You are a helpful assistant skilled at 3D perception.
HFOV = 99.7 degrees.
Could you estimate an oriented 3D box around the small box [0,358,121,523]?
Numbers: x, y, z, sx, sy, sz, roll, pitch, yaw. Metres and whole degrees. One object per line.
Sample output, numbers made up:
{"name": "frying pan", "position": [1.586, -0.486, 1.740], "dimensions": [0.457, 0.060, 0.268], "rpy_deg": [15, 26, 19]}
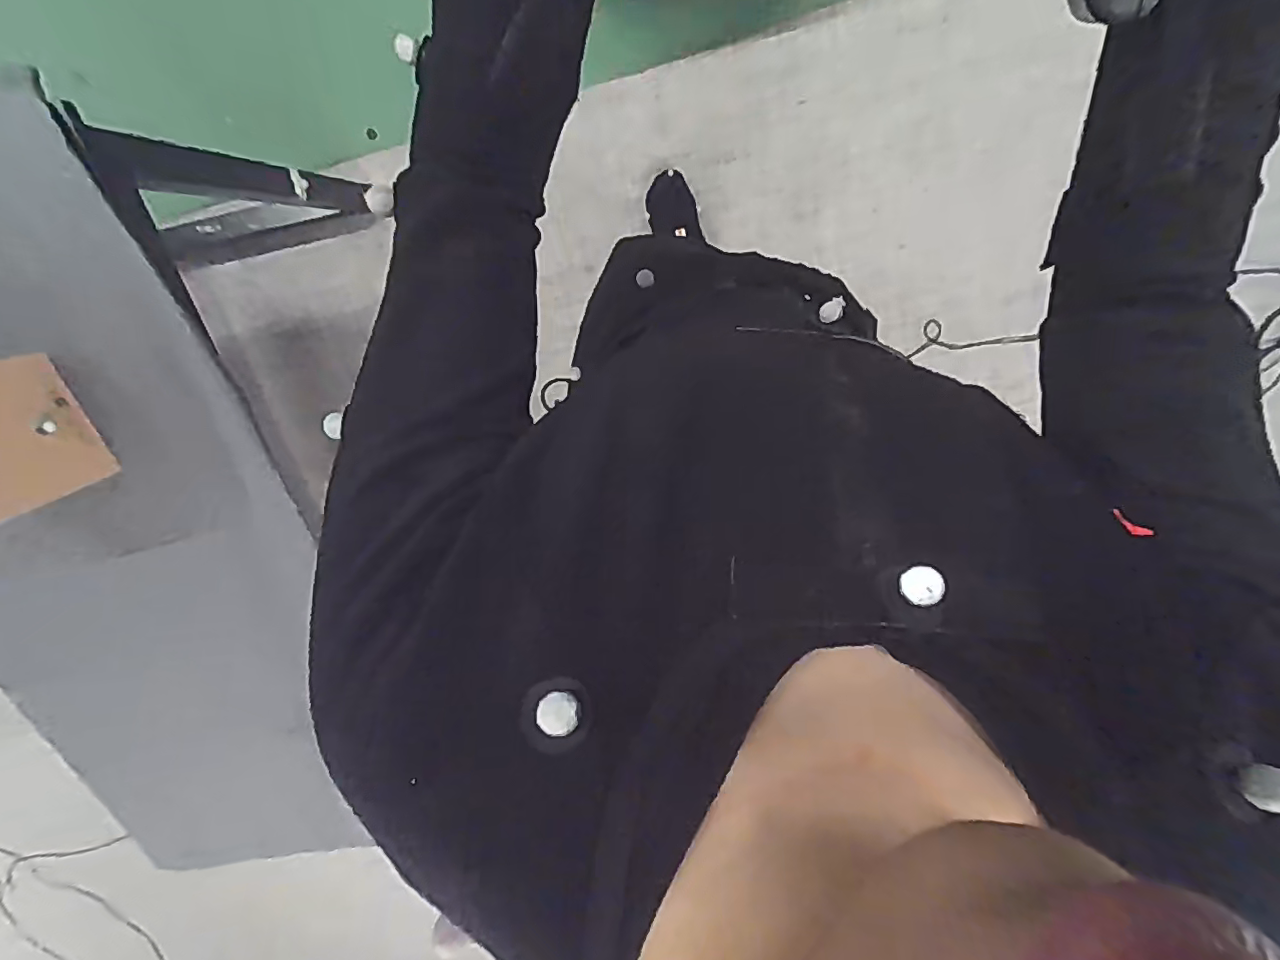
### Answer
{"name": "small box", "position": [-0.803, -0.036, 0.645], "dimensions": [0.179, 0.176, 0.168], "rpy_deg": [-12, 112, 6]}
